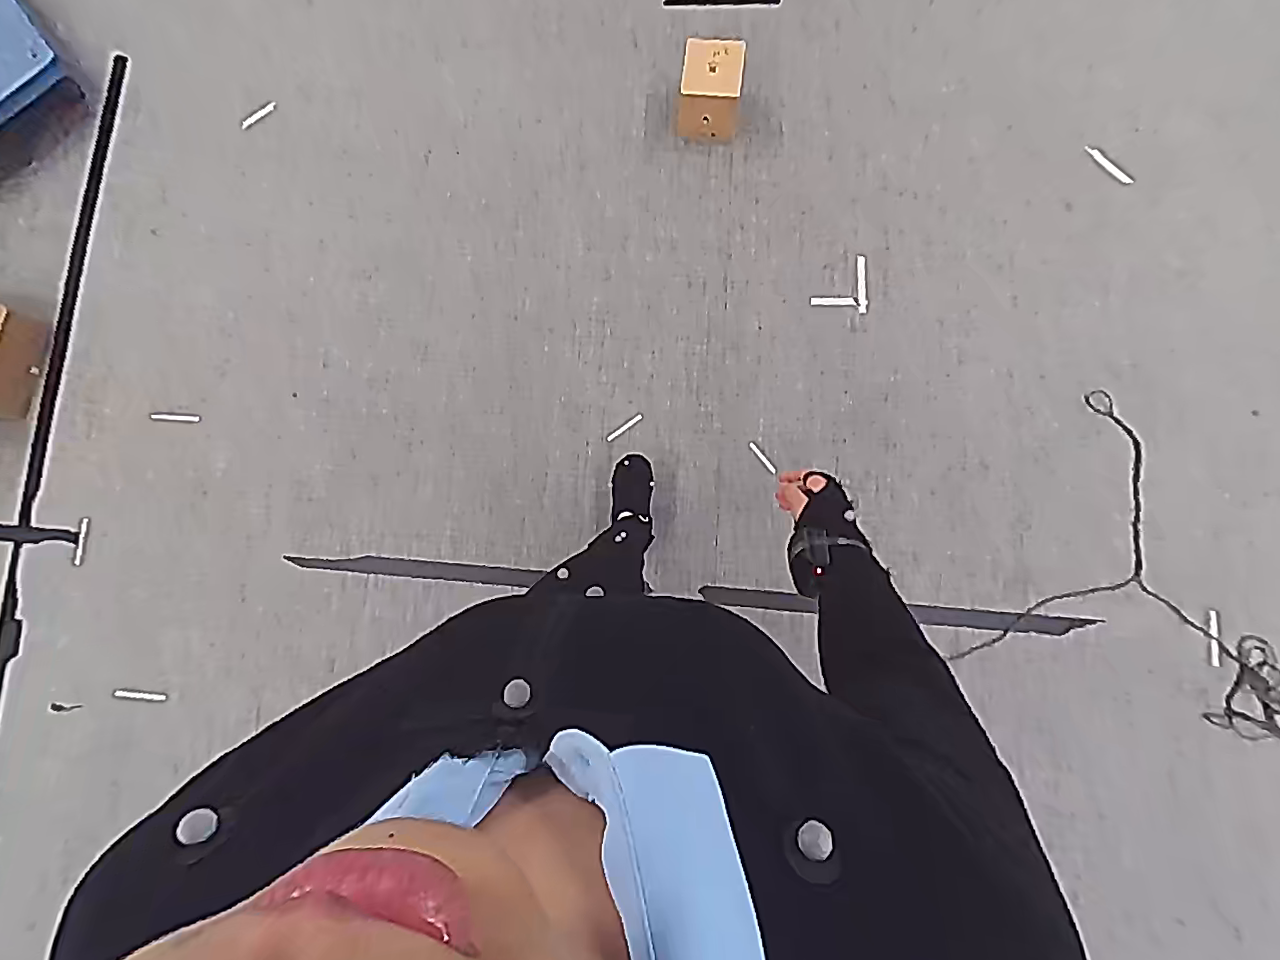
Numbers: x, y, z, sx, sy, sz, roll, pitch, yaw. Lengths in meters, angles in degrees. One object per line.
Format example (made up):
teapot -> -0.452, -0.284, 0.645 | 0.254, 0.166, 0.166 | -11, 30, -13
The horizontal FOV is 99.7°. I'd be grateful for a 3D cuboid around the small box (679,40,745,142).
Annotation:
small box -> 0.206, -1.122, 1.570 | 0.168, 0.176, 0.179 | 7, 83, 4
